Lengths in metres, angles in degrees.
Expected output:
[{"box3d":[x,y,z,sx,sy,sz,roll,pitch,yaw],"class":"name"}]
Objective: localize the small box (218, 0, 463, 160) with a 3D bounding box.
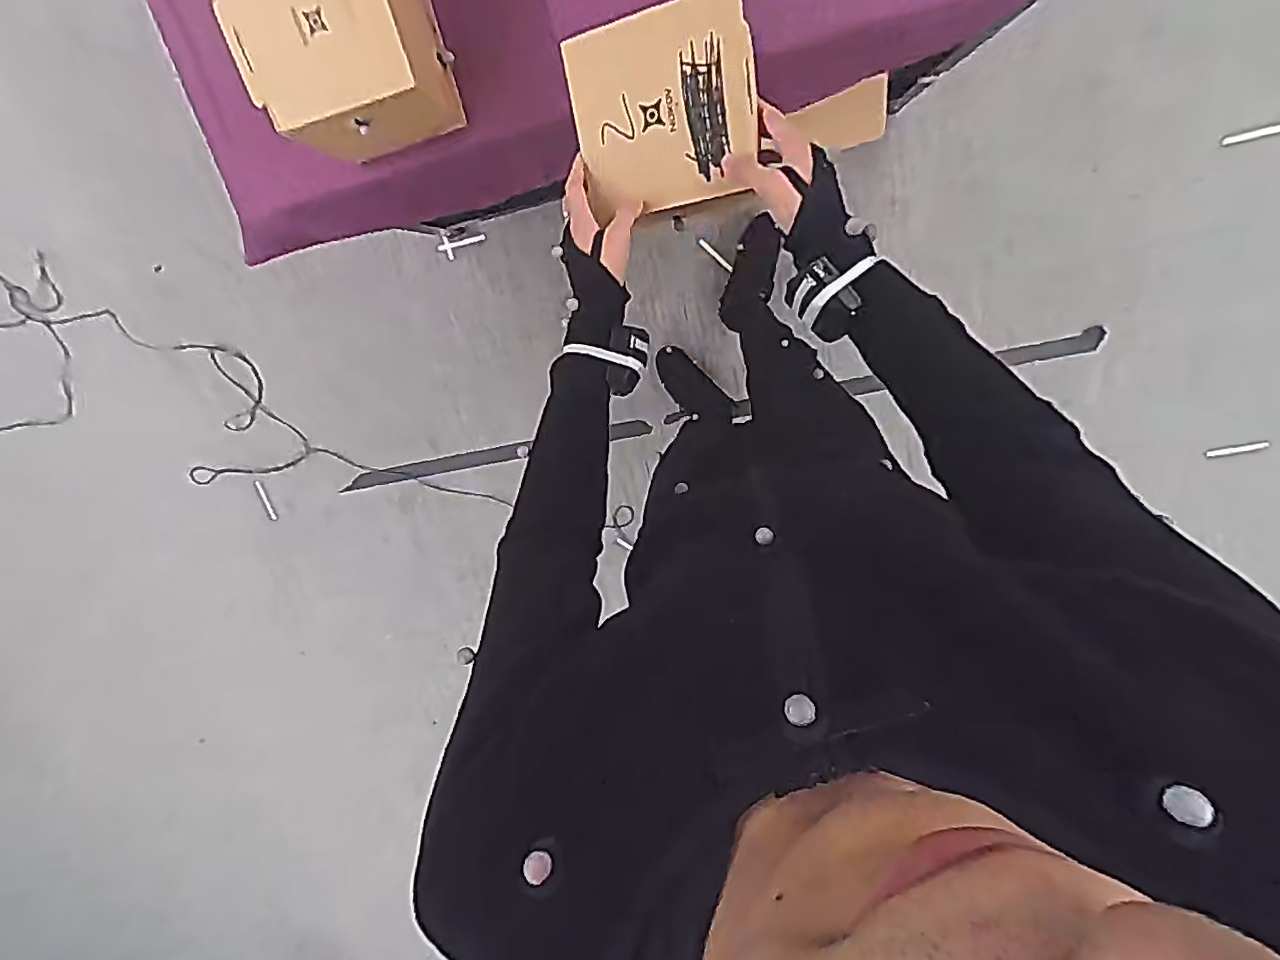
[{"box3d":[-0.342,-0.504,0.640,0.179,0.176,0.168,-12,109,7],"class":"small box"}]
